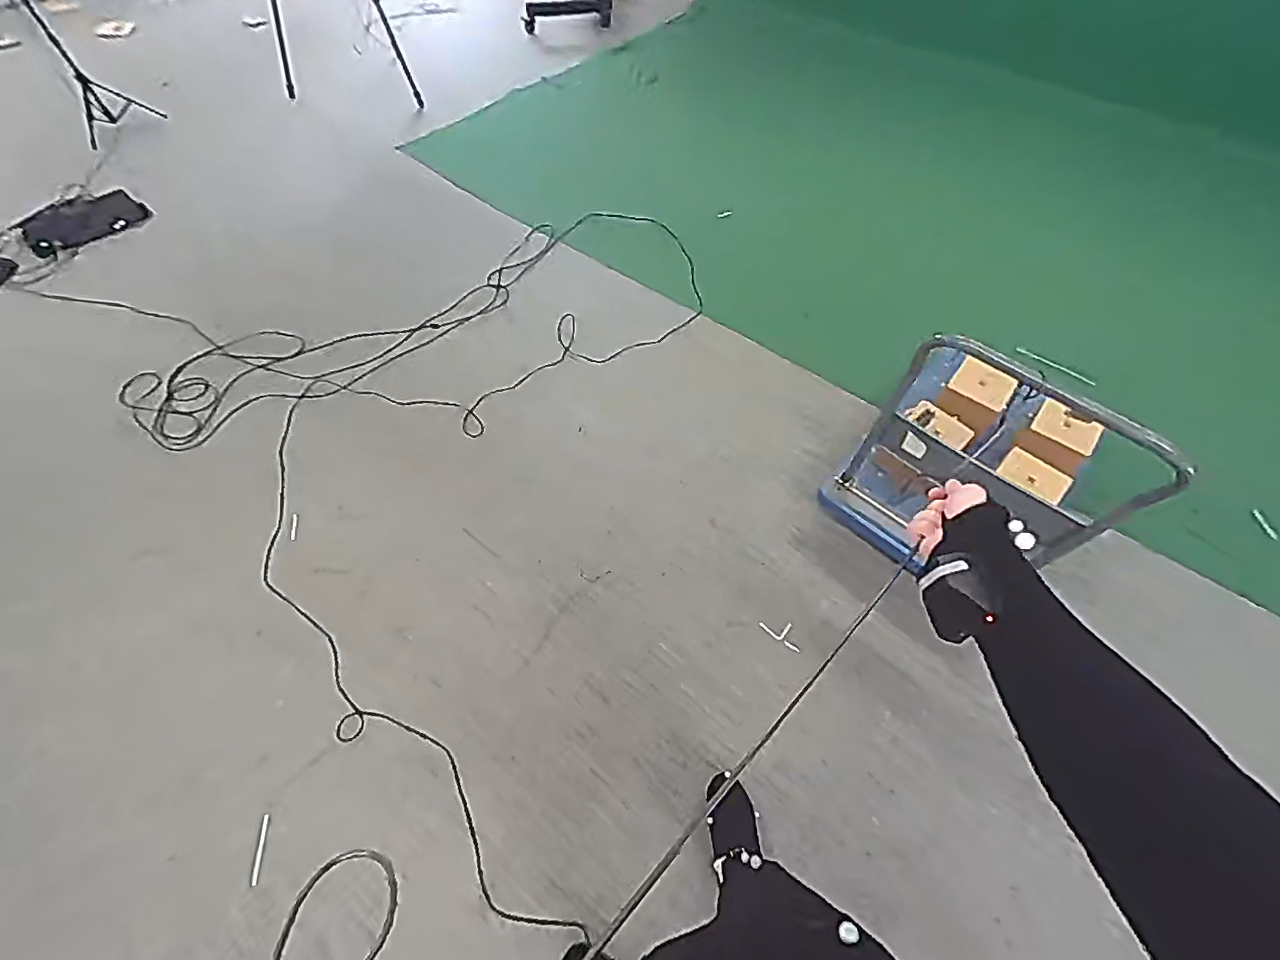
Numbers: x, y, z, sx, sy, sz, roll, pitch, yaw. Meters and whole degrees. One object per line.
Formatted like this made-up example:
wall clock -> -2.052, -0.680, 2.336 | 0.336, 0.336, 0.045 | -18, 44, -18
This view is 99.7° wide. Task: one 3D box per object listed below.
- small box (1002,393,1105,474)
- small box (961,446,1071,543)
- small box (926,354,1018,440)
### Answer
small box -> 1.242, -0.124, 1.637 | 0.168, 0.176, 0.179 | 35, 65, 21
small box -> 1.057, 0.044, 1.534 | 0.168, 0.176, 0.179 | 40, 66, 22
small box -> 1.047, -0.258, 1.723 | 0.168, 0.176, 0.179 | 35, 64, 19
